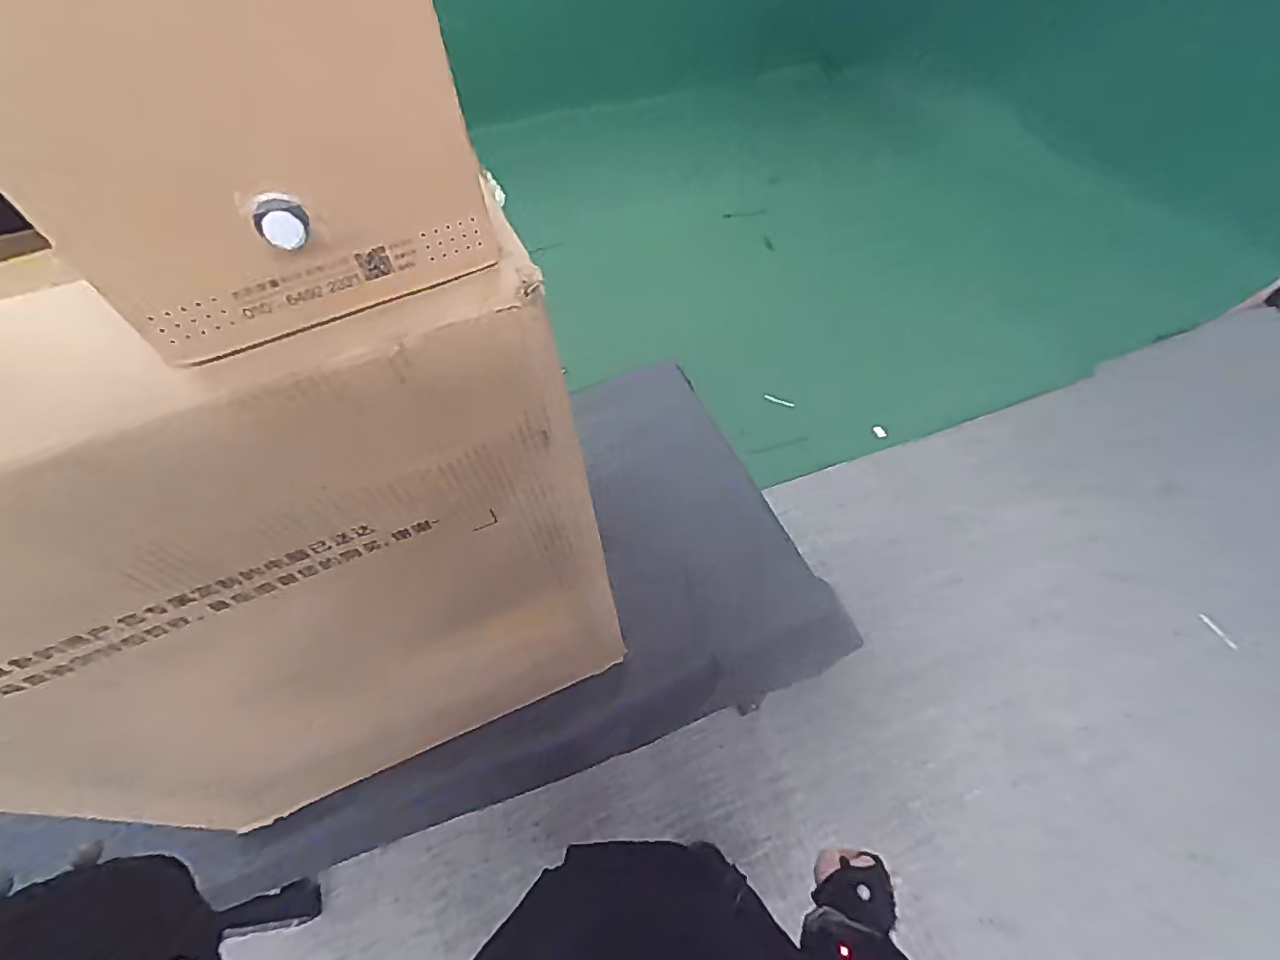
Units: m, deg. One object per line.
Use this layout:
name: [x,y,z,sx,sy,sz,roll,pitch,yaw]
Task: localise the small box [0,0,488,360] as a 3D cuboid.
small box: [-0.194,-0.190,0.260,0.168,0.176,0.179,-25,58,-15]
